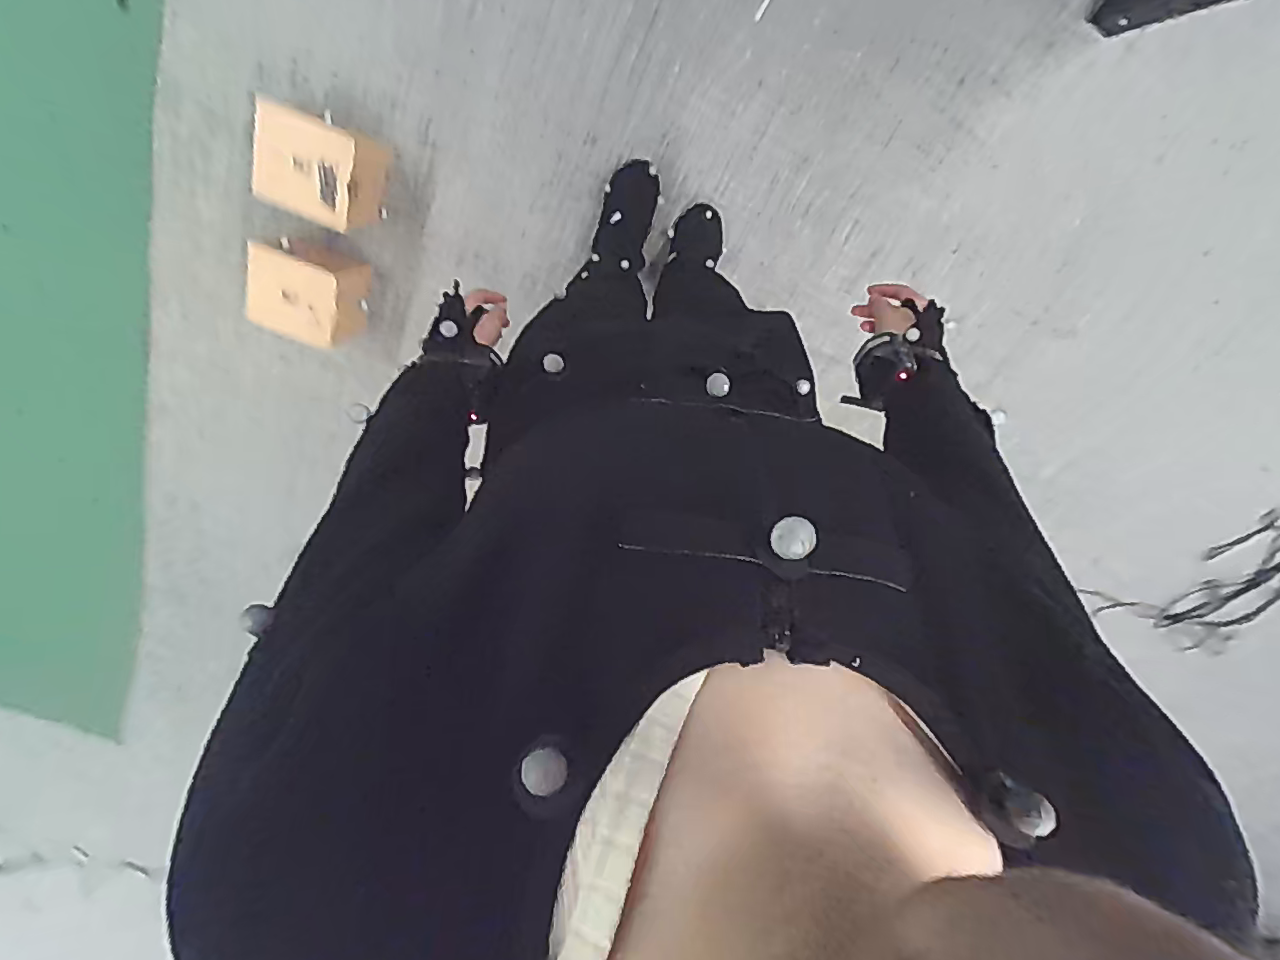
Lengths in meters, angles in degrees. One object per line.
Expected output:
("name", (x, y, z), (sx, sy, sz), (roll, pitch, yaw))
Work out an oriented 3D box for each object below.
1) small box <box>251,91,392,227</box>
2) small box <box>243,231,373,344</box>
("small box", (-0.610, -0.617, 1.050), (0.179, 0.176, 0.168), (21, 117, -9))
("small box", (-0.710, -0.421, 1.165), (0.179, 0.176, 0.168), (20, 119, -10))
